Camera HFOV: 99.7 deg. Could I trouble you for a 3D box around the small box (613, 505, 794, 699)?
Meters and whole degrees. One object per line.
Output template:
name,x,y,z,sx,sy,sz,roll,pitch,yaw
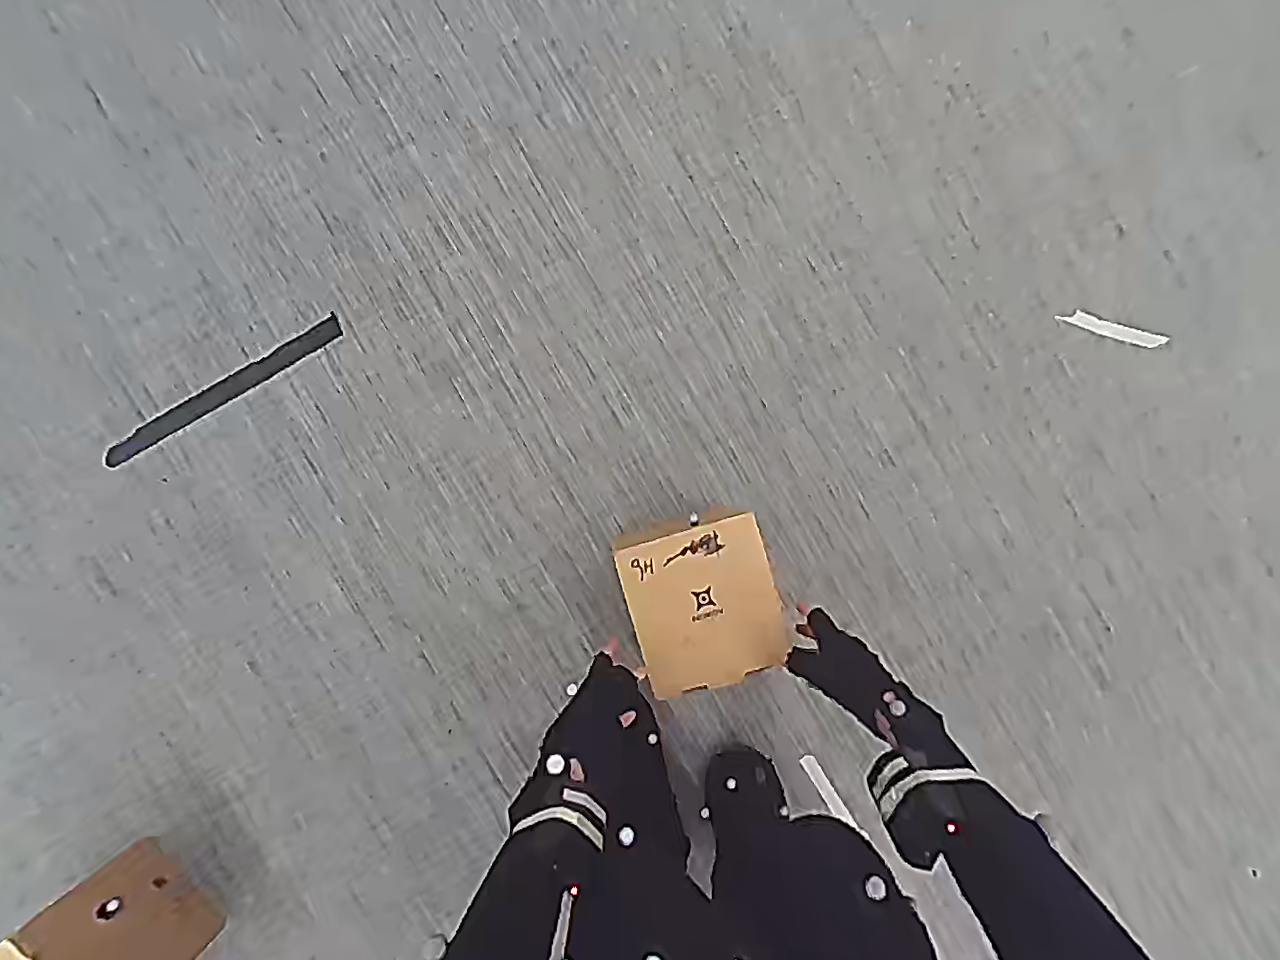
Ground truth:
small box,0.069,0.137,0.673,0.168,0.176,0.179,-16,90,-3

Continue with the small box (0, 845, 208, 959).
small box,-0.675,0.597,0.648,0.179,0.176,0.168,-42,89,-1
